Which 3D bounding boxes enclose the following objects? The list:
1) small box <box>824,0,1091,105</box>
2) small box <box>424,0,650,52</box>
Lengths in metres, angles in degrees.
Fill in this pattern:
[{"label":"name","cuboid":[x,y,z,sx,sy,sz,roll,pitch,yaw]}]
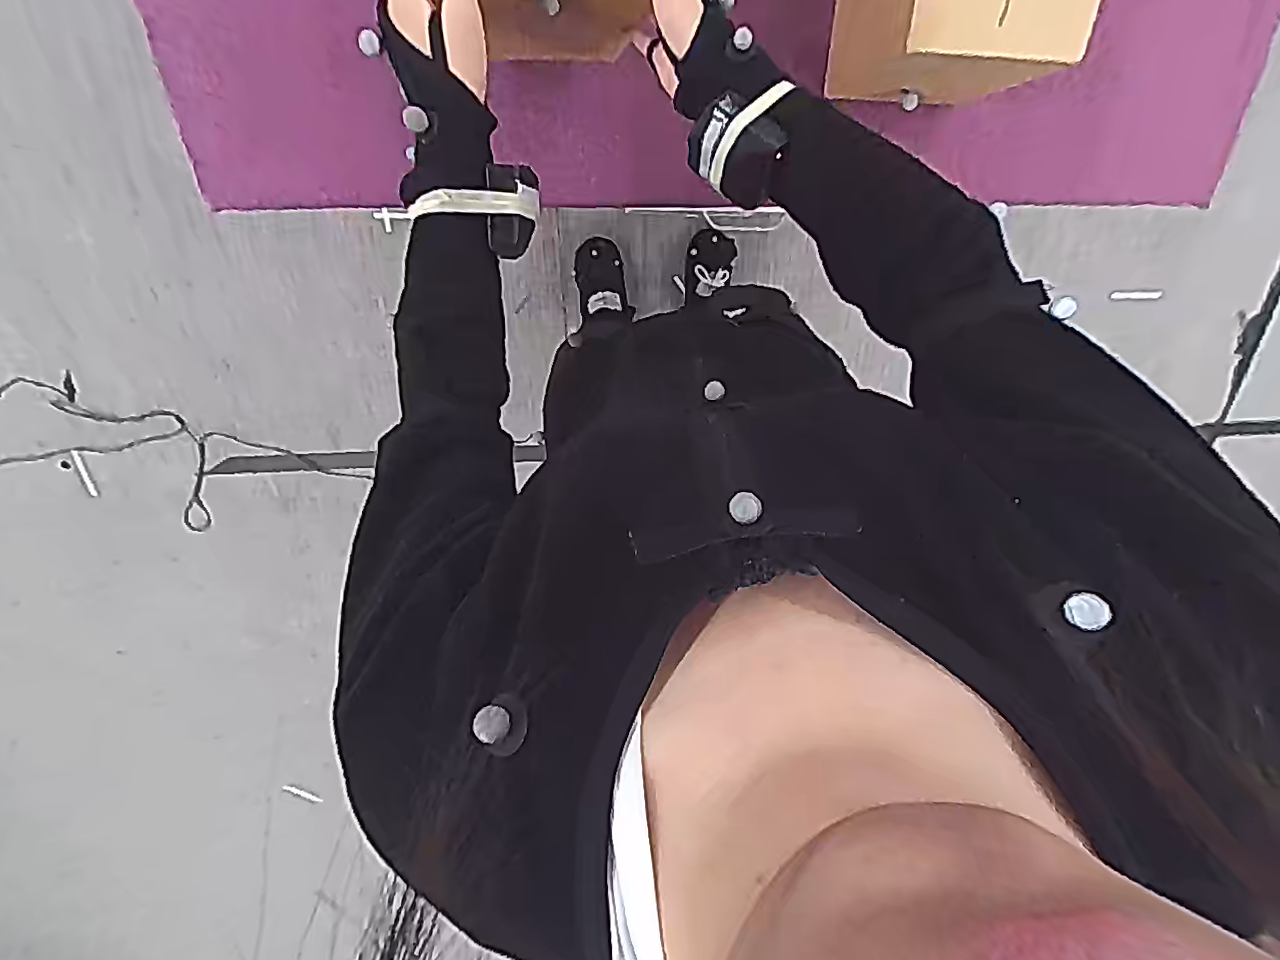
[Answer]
[{"label":"small box","cuboid":[0.291,-0.476,0.503,0.168,0.176,0.179,-1,115,-6]},{"label":"small box","cuboid":[-0.082,-0.454,0.406,0.179,0.176,0.168,-12,112,-16]}]
